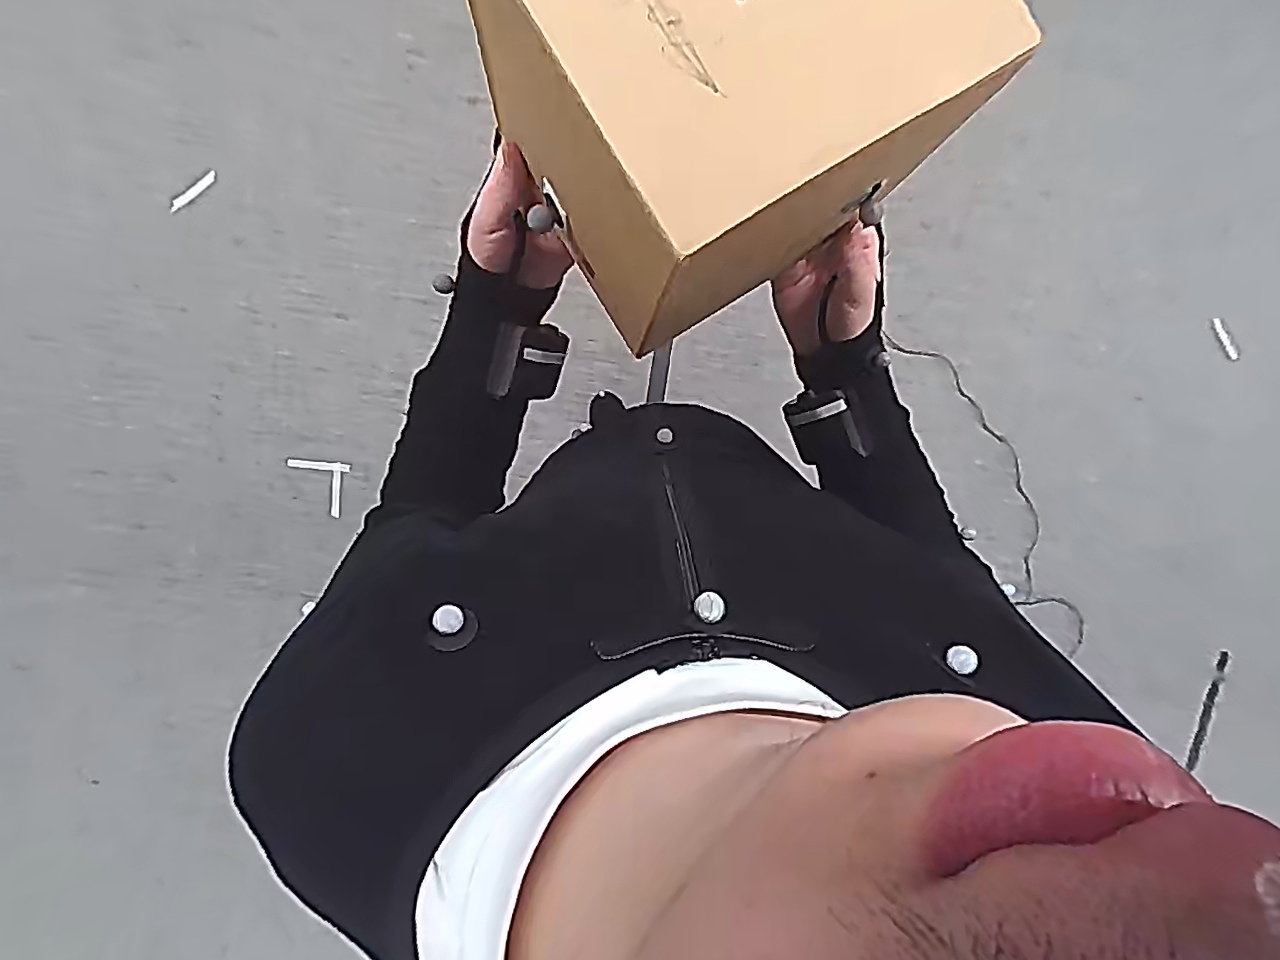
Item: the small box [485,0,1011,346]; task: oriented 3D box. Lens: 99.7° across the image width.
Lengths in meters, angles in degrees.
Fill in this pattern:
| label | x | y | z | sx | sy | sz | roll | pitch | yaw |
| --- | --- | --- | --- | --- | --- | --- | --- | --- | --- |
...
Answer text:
| label | x | y | z | sx | sy | sz | roll | pitch | yaw |
| --- | --- | --- | --- | --- | --- | --- | --- | --- | --- |
| small box | 0.033 | -0.199 | 0.292 | 0.179 | 0.176 | 0.168 | -32 | 93 | -4 |
